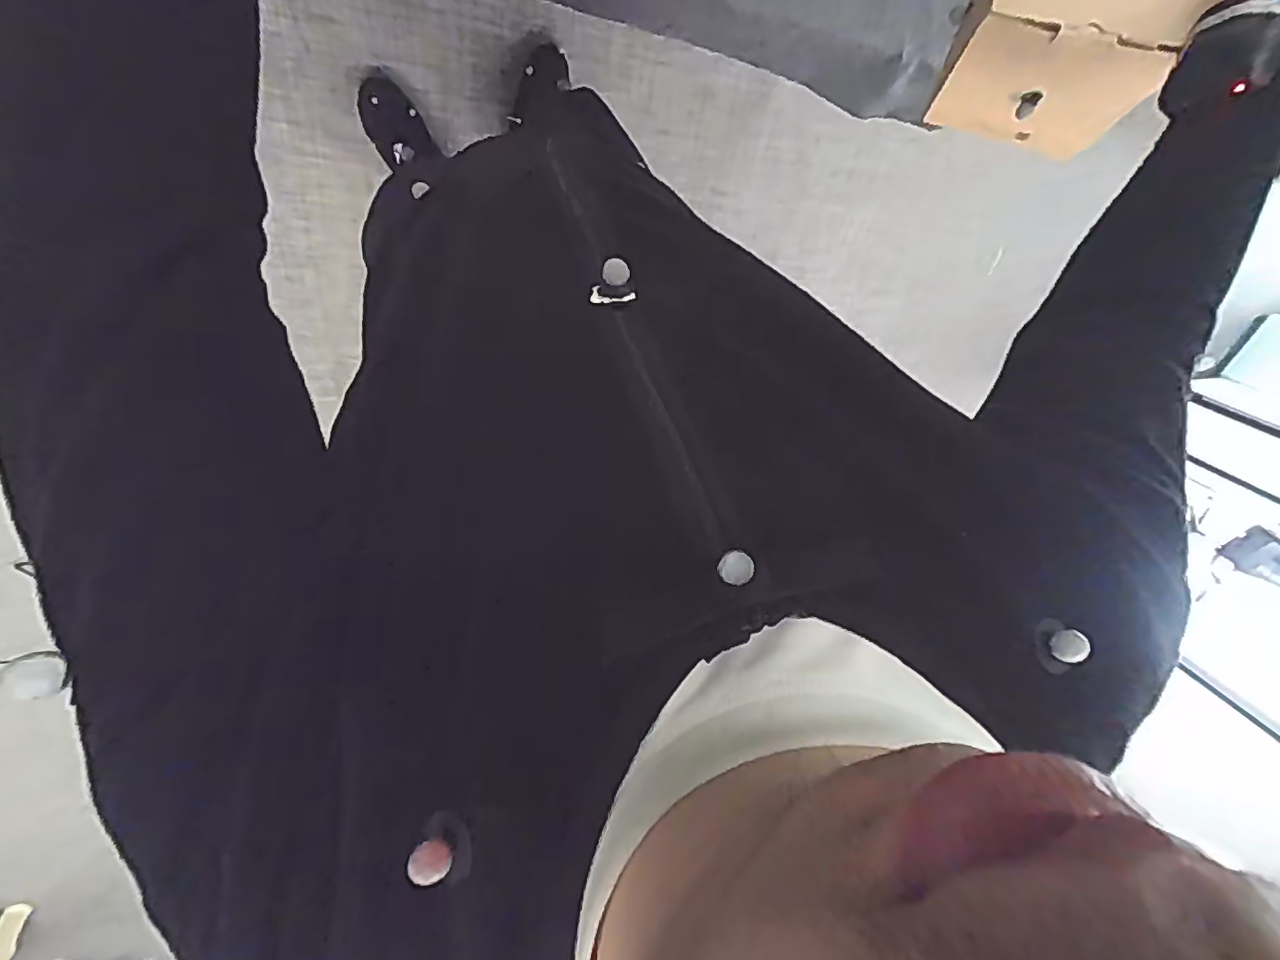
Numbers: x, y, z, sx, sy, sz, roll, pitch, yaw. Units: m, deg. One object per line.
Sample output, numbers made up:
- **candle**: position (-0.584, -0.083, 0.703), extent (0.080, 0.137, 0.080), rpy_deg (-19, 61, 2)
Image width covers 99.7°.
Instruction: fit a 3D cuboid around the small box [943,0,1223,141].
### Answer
- **small box**: position (0.415, -0.459, 0.506), extent (0.168, 0.176, 0.179), rpy_deg (21, 100, 8)
